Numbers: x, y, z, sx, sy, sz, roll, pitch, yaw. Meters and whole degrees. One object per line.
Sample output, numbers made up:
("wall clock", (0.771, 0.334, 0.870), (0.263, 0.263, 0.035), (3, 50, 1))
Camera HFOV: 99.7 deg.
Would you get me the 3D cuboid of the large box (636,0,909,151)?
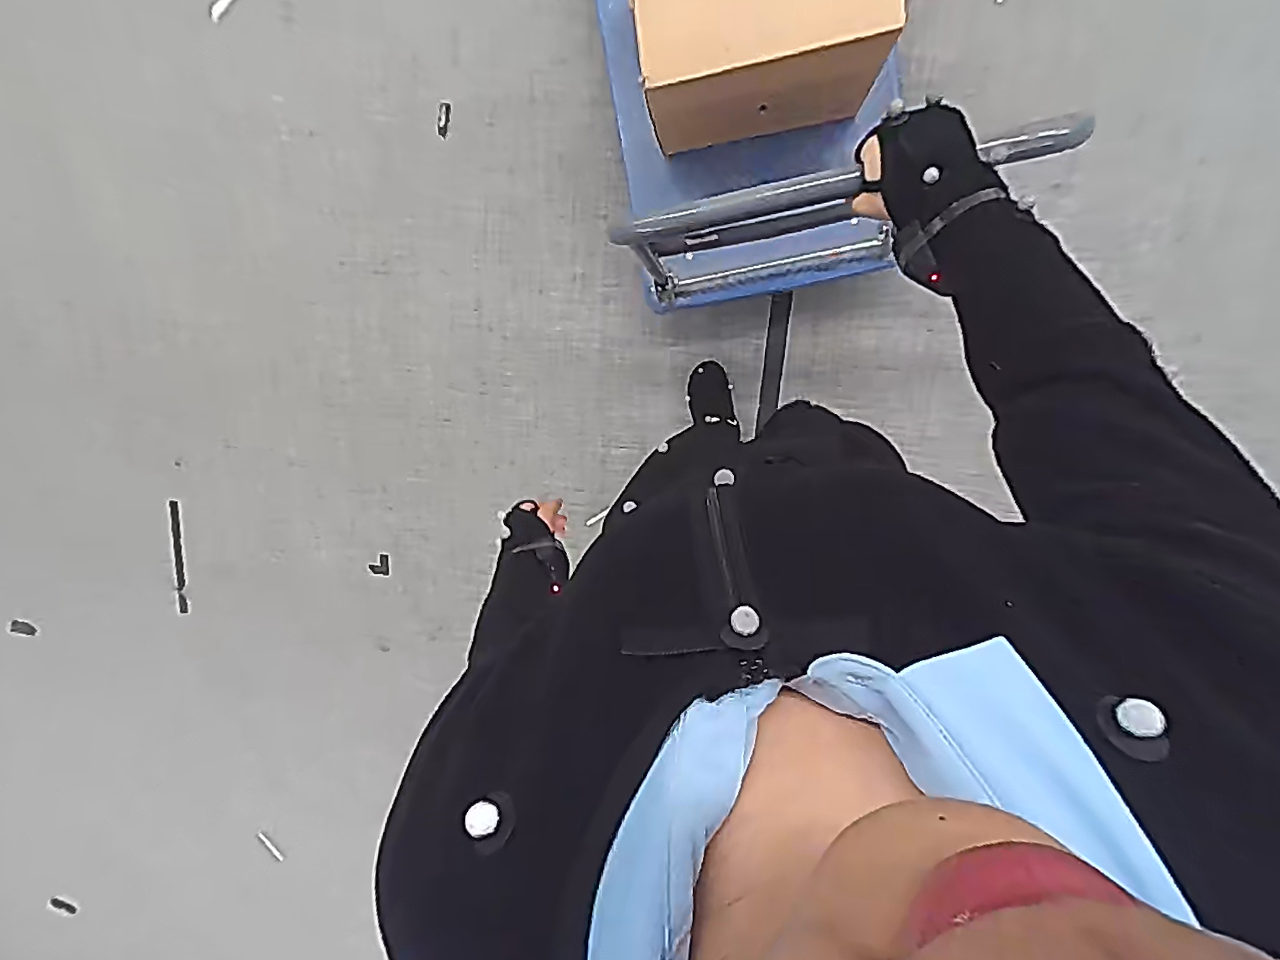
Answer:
("large box", (0.210, -0.839, 0.952), (0.408, 0.320, 0.320), (-6, 100, 11))
